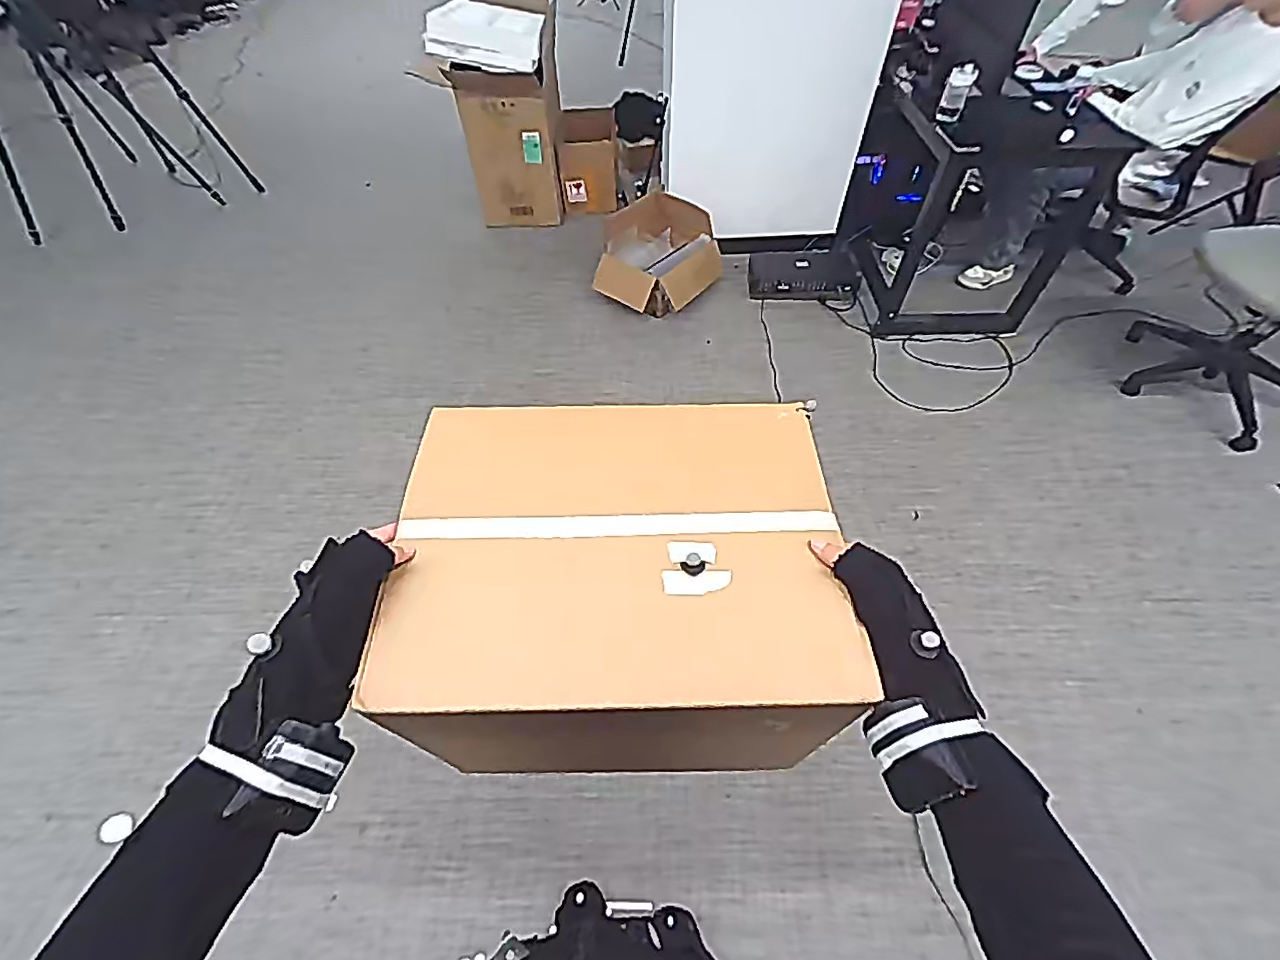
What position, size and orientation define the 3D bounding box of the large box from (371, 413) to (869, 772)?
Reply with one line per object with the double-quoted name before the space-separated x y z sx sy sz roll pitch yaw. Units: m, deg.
"large box" -0.019 0.139 0.631 0.408 0.320 0.320 0 54 0
